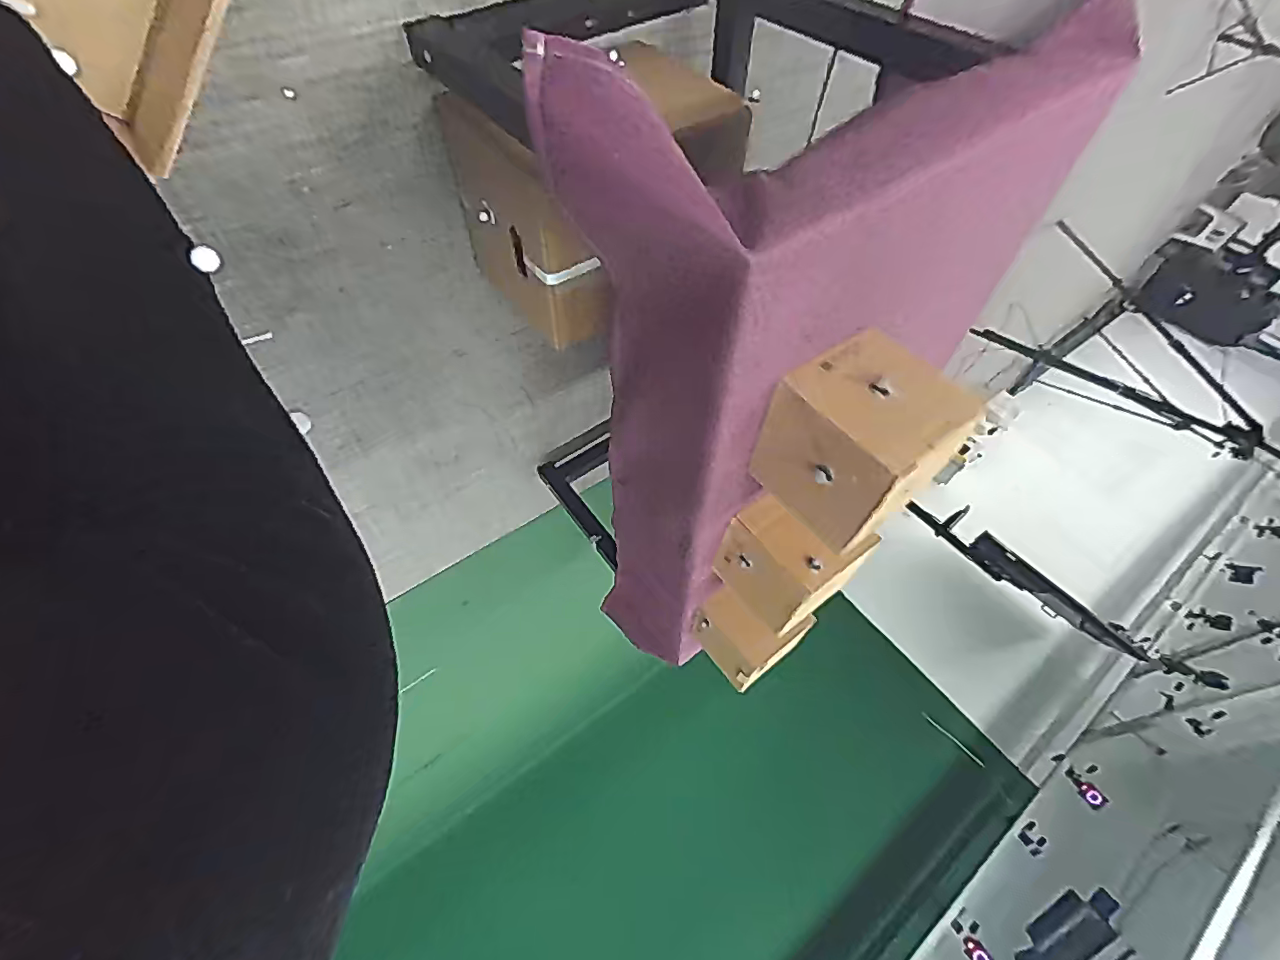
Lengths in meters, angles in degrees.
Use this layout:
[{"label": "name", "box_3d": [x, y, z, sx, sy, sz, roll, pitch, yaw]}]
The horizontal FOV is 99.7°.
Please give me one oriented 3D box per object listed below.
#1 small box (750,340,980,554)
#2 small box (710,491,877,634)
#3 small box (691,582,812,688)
[{"label": "small box", "box_3d": [0.258, -0.048, 0.664, 0.168, 0.176, 0.179, -30, 151, -21]}, {"label": "small box", "box_3d": [0.249, 0.119, 0.911, 0.179, 0.176, 0.168, -27, 150, -25]}, {"label": "small box", "box_3d": [0.230, 0.309, 1.169, 0.179, 0.176, 0.168, -31, 152, -22]}]
